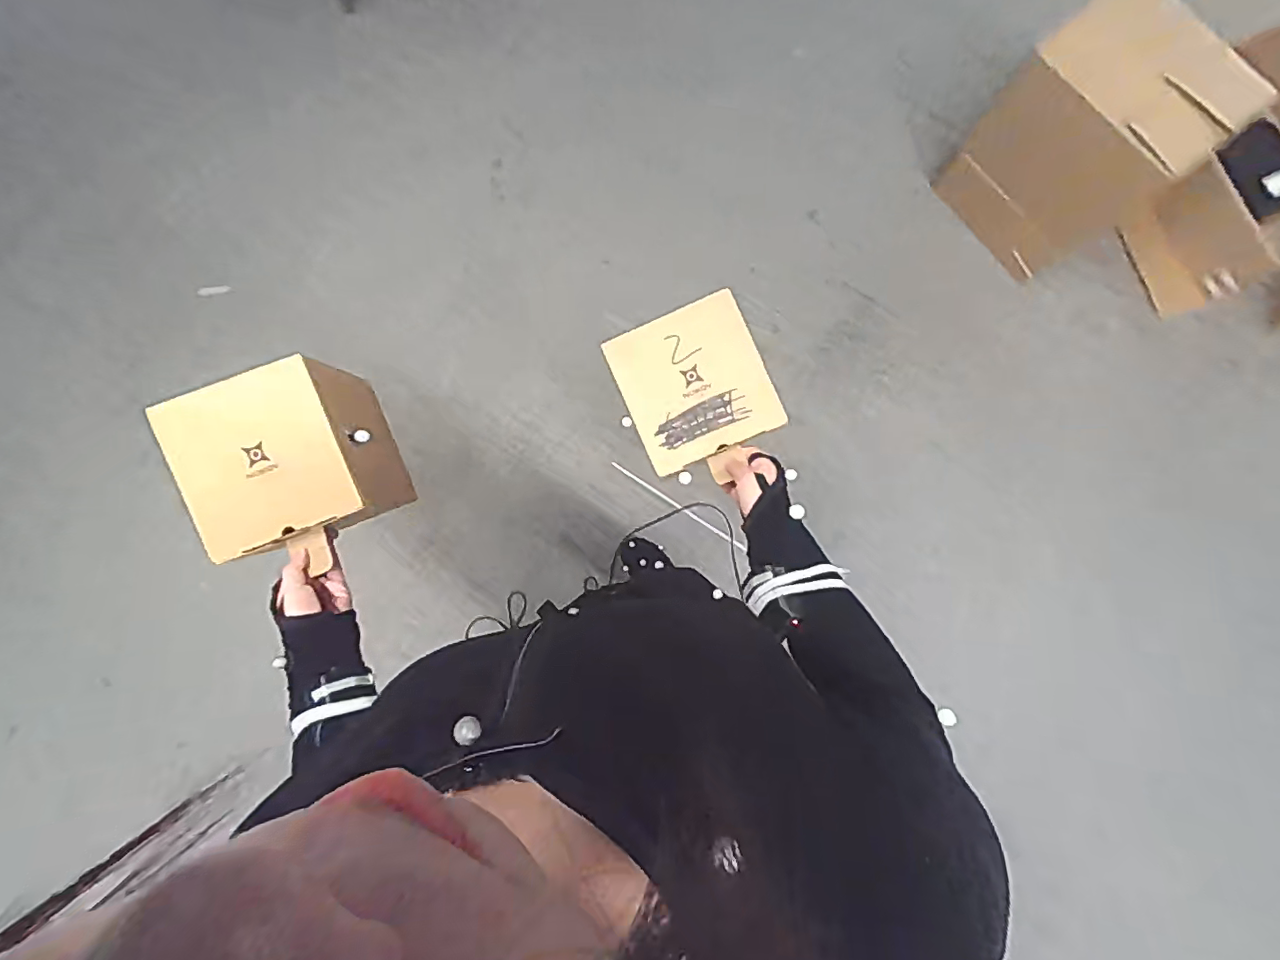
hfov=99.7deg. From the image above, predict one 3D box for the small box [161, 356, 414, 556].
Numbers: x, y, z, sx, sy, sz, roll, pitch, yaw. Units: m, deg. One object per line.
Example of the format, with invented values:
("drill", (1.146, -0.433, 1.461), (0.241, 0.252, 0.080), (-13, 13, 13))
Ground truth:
("small box", (-0.401, -0.026, 0.650), (0.168, 0.176, 0.179), (-20, 93, -4))
